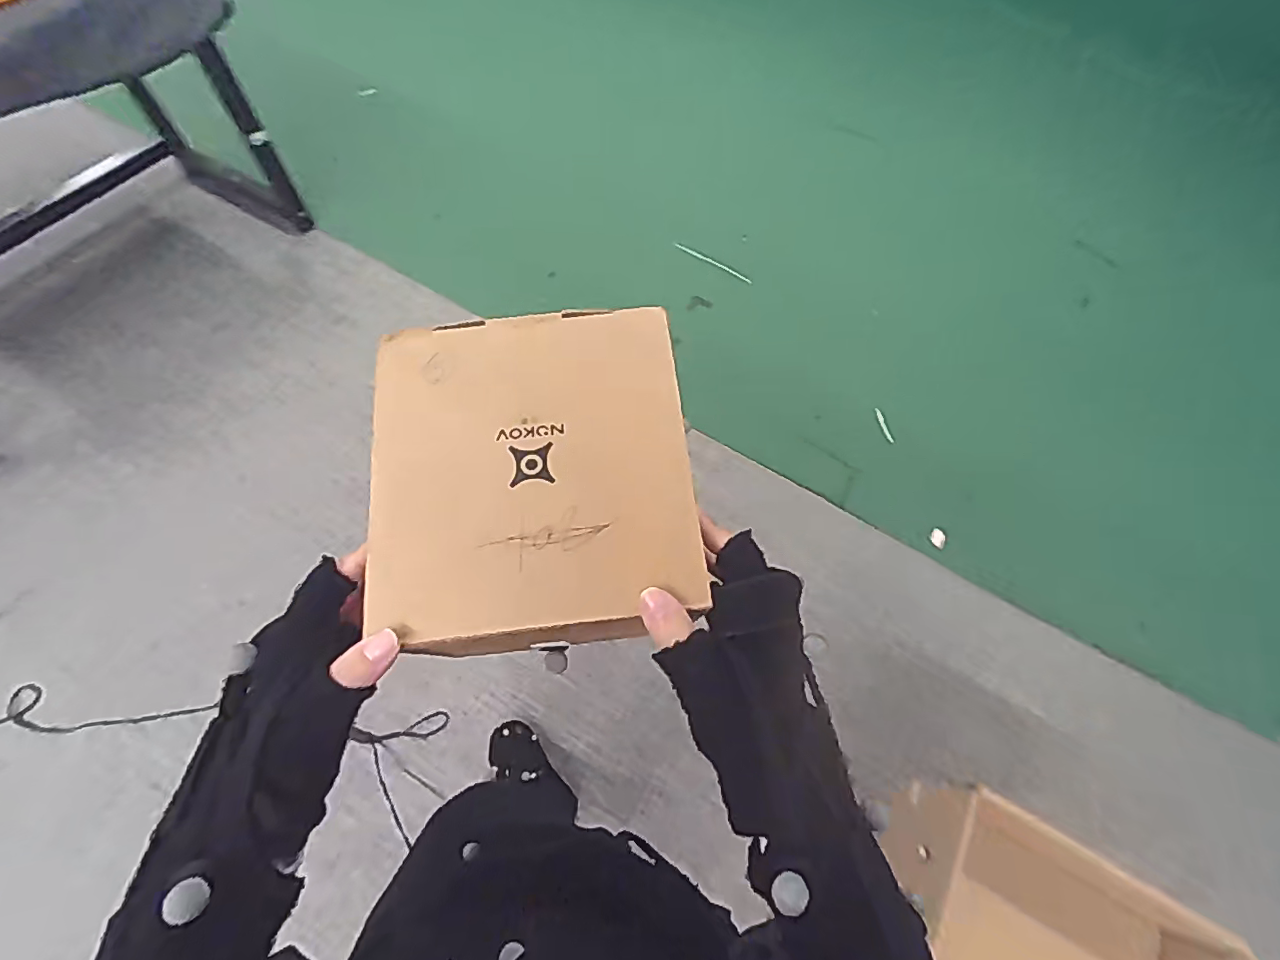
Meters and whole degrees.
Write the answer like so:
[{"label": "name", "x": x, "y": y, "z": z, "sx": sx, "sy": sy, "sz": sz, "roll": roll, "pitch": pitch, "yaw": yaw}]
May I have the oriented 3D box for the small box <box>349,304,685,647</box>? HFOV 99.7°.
[{"label": "small box", "x": -0.069, "y": 0.010, "z": 0.366, "sx": 0.168, "sy": 0.176, "sz": 0.179, "roll": -7, "pitch": 71, "yaw": -3}]
